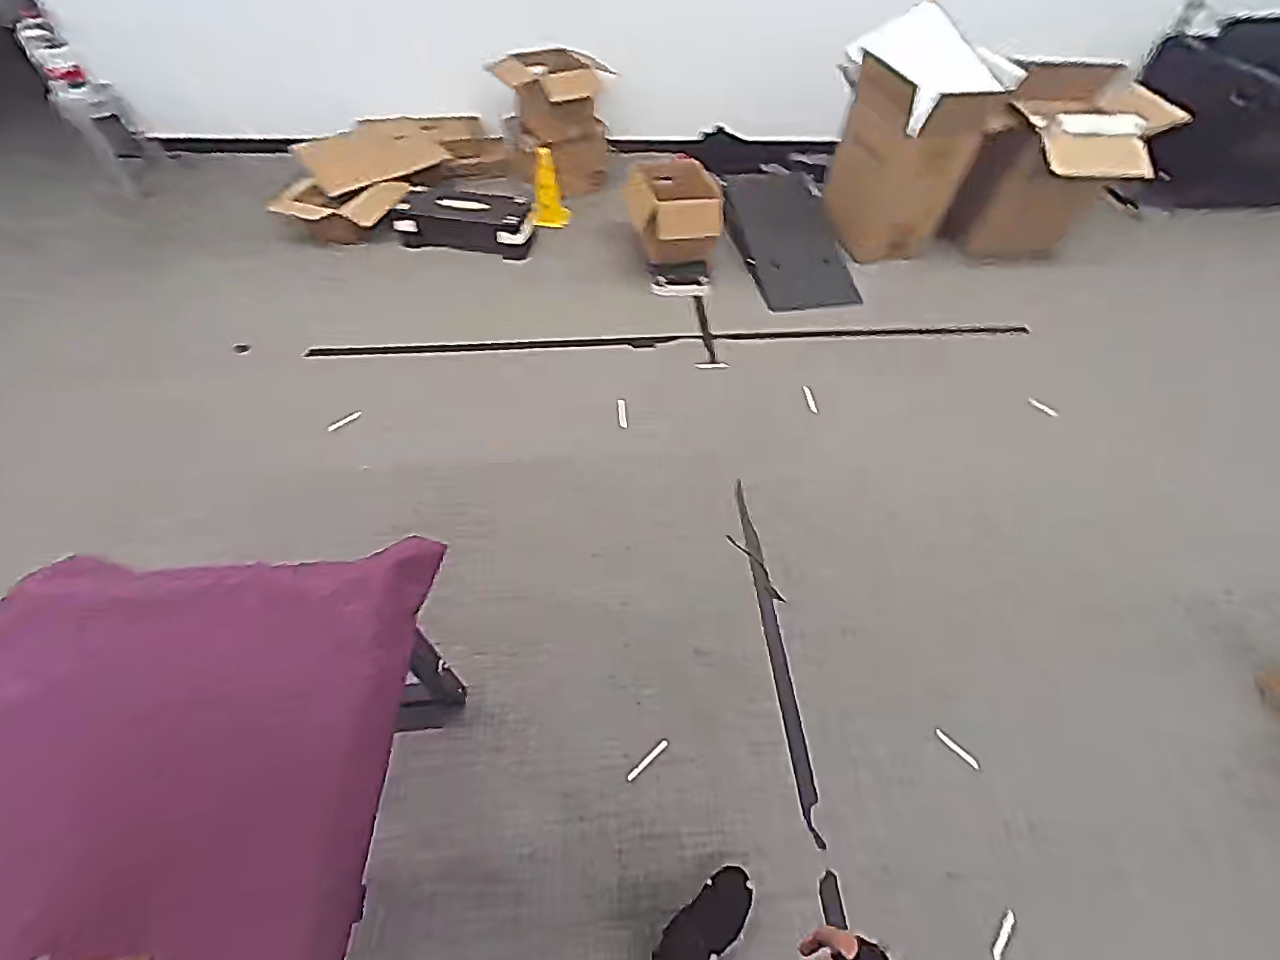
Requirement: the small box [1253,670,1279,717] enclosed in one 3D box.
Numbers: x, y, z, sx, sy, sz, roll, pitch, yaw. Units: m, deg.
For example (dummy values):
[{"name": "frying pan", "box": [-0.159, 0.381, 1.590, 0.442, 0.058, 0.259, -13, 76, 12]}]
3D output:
[{"name": "small box", "box": [1.964, 0.617, 1.554, 0.179, 0.176, 0.168, -8, 54, -8]}]
